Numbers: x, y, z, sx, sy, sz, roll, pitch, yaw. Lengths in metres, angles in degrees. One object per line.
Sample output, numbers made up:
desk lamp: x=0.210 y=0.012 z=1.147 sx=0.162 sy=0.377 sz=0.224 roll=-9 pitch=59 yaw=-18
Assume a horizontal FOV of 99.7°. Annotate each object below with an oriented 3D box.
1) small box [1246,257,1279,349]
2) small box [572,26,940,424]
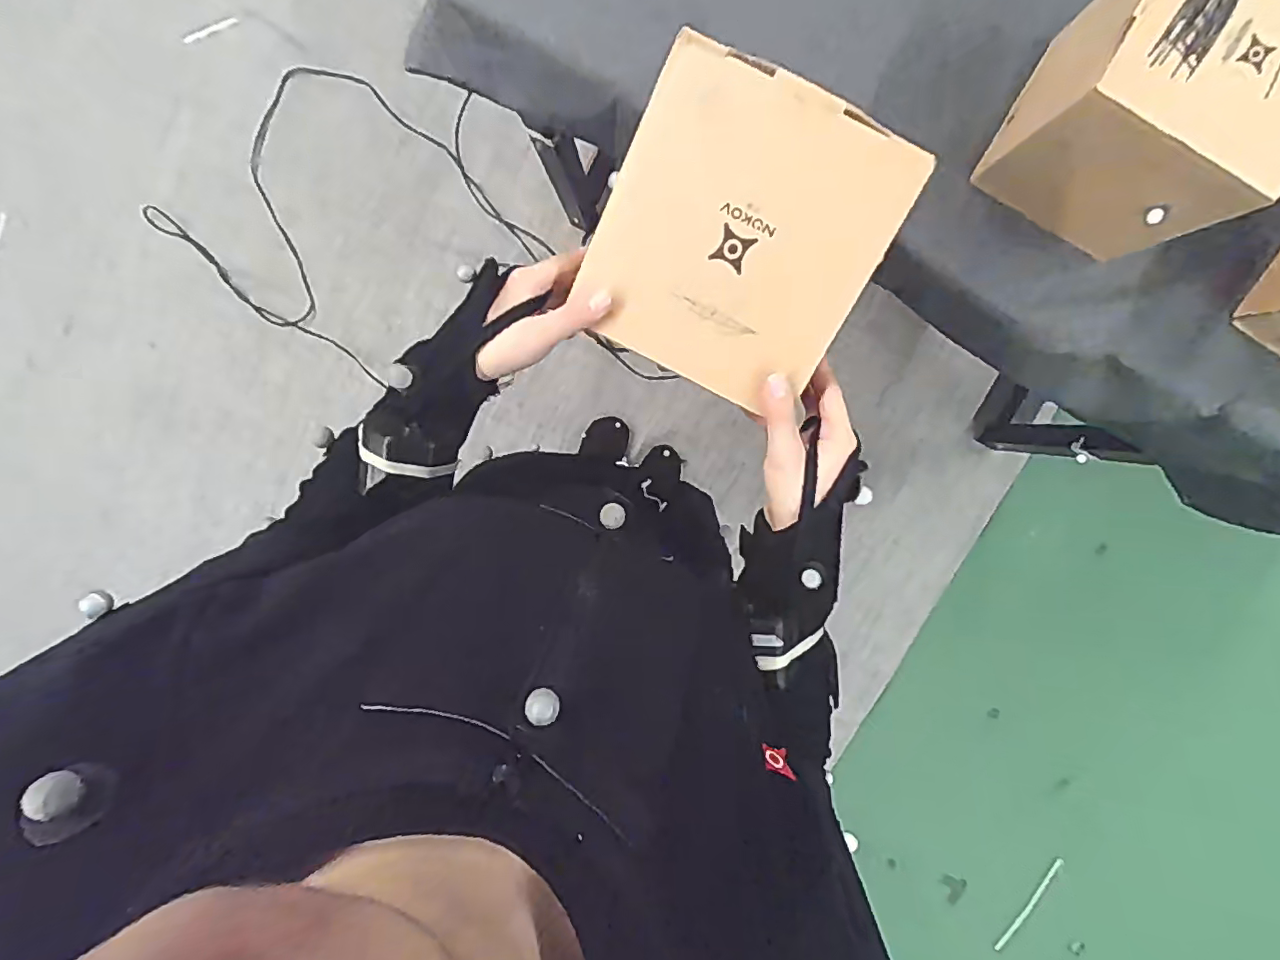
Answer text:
small box: x=0.754 y=-0.198 z=0.500 sx=0.168 sy=0.176 sz=0.179 roll=32 pitch=97 yaw=-2
small box: x=0.072 y=-0.168 z=0.405 sx=0.168 sy=0.176 sz=0.179 roll=27 pitch=109 yaw=0
